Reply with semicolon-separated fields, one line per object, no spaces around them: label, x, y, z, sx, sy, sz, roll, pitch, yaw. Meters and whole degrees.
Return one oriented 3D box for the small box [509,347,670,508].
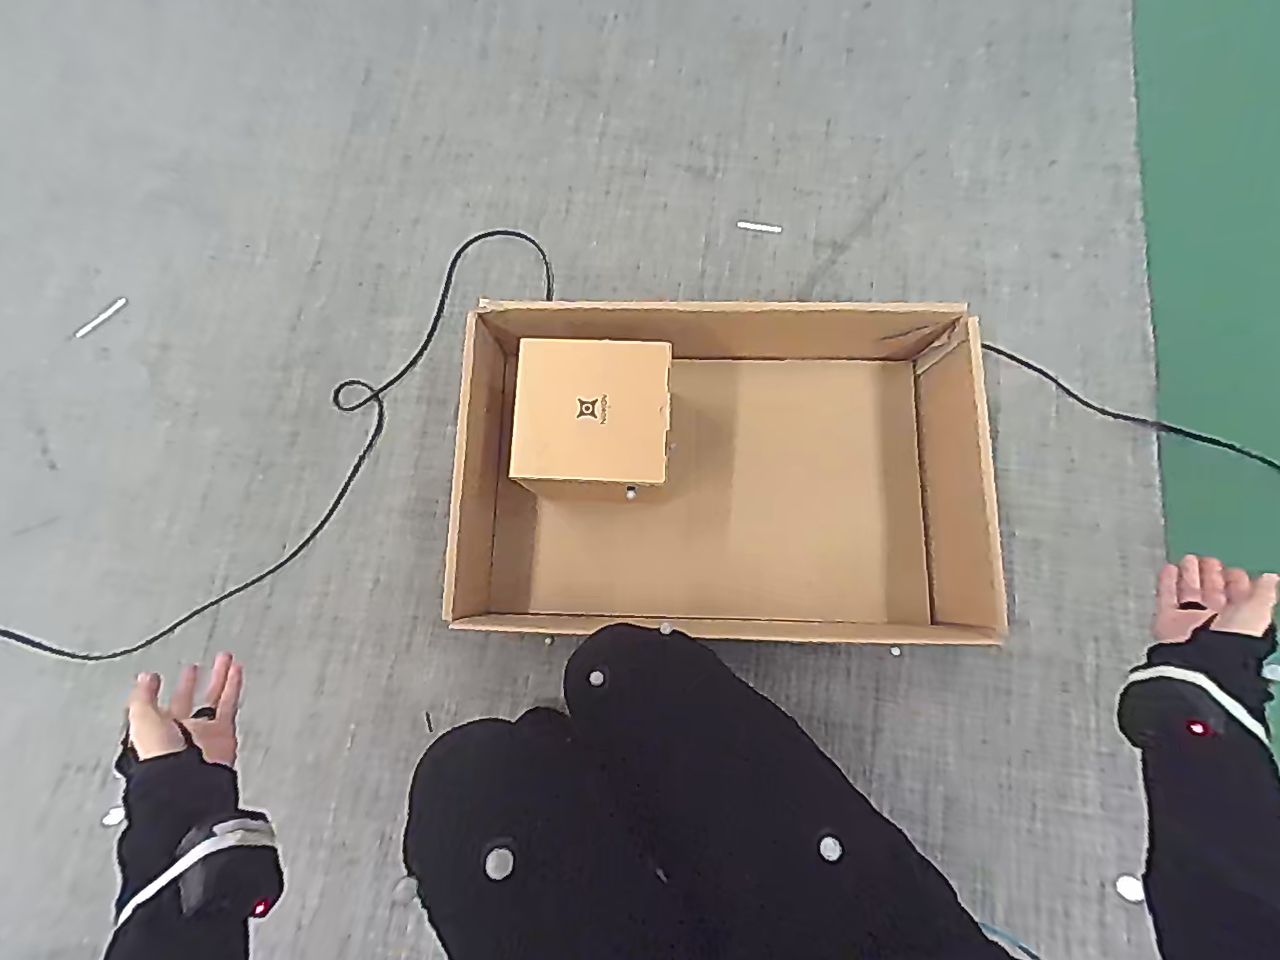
small box;-0.052;-0.056;0.686;0.179;0.176;0.168;2;80;2
